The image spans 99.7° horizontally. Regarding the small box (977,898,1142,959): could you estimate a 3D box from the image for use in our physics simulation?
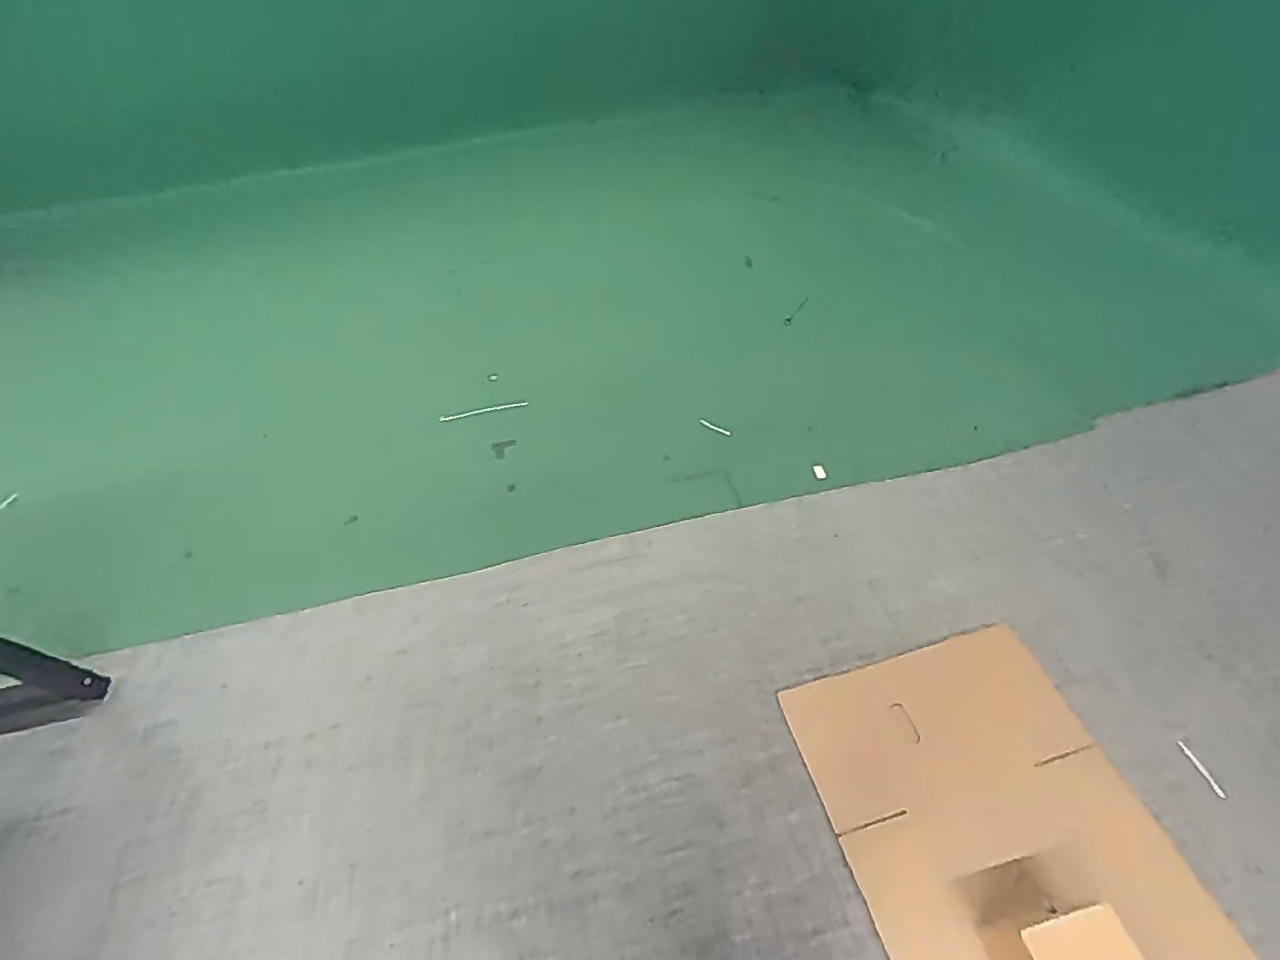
[{"bbox_3d":[0.701,0.814,0.884,0.168,0.176,0.179,-13,53,-6],"label":"small box"}]
